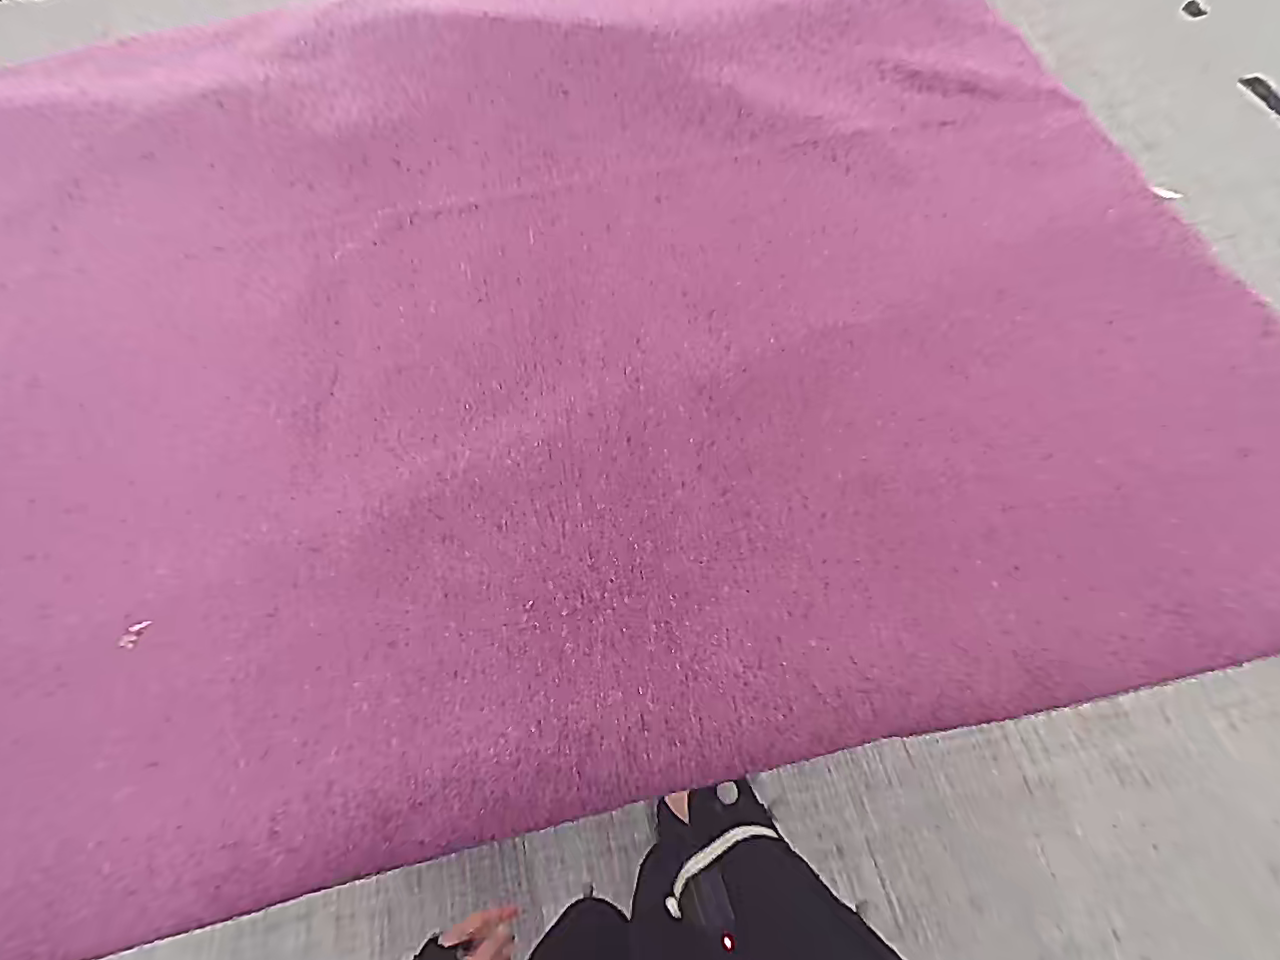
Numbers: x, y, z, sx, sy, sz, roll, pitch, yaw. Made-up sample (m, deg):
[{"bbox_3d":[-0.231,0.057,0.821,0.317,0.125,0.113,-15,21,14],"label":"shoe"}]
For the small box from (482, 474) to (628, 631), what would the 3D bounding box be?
[{"bbox_3d":[-0.121,0.116,0.812,0.168,0.176,0.179,-16,70,-1],"label":"small box"}]
